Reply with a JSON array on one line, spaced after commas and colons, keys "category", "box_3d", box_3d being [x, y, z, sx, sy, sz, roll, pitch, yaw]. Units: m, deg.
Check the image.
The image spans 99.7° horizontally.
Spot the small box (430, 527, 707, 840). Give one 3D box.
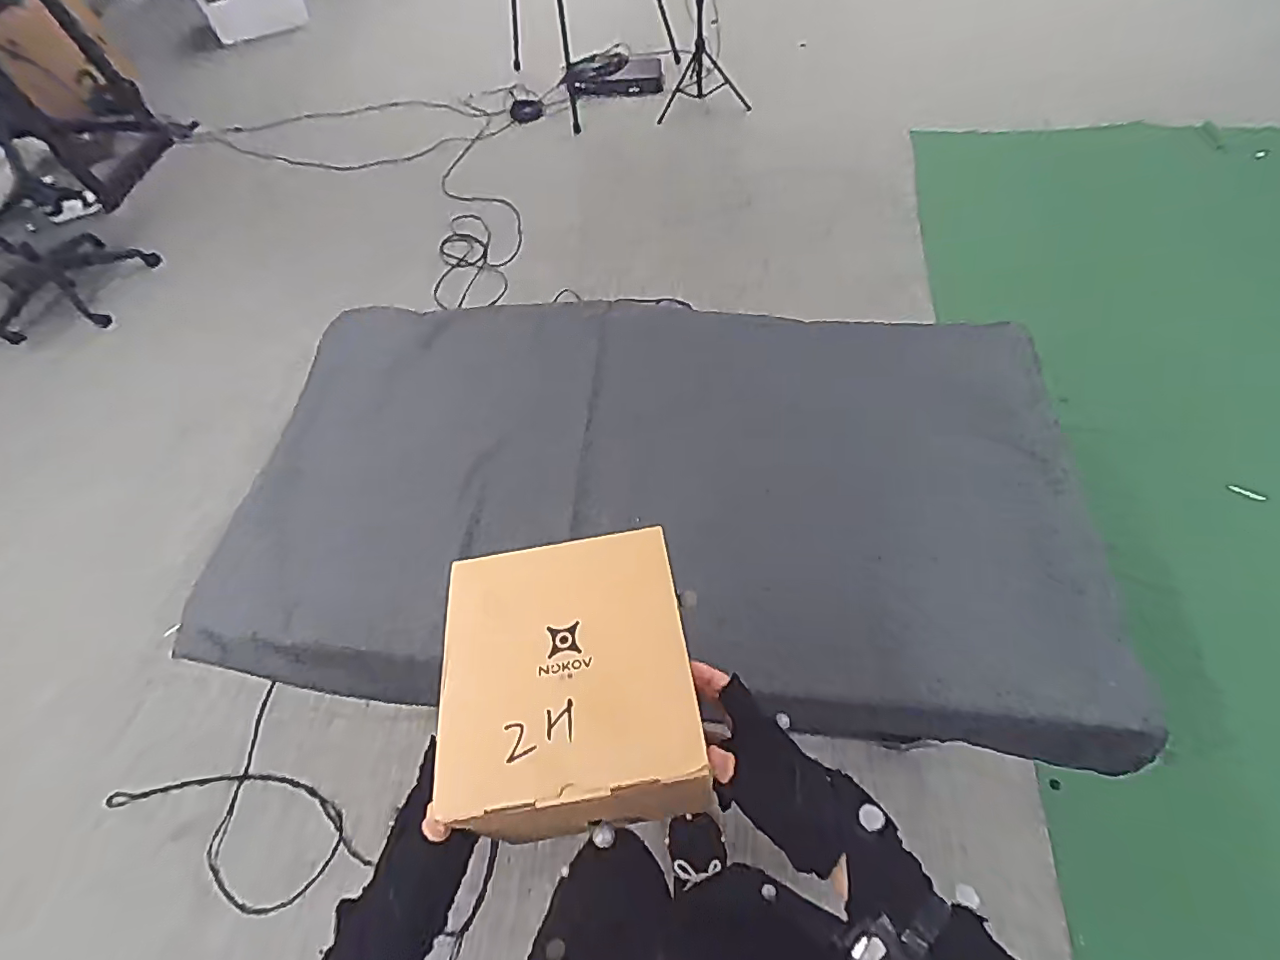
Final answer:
[{"category": "small box", "box_3d": [-0.046, 0.164, 0.428, 0.168, 0.176, 0.179, -11, 53, 0]}]
